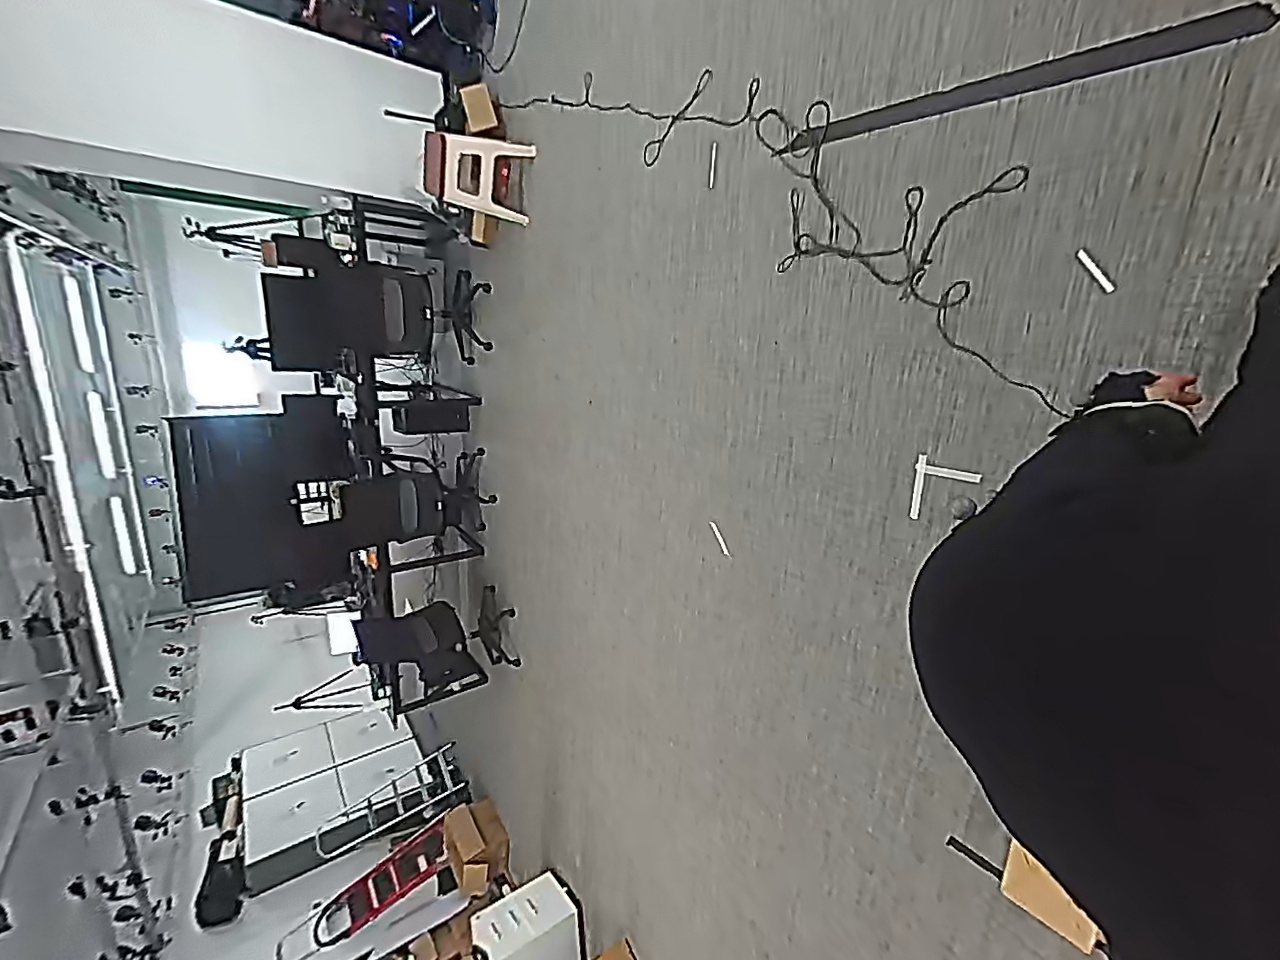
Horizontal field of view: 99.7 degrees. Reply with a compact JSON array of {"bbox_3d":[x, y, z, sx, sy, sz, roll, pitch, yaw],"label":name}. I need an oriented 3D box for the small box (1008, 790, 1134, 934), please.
[{"bbox_3d":[0.941,0.839,1.188,0.168,0.176,0.179,18,112,51],"label":"small box"}]
